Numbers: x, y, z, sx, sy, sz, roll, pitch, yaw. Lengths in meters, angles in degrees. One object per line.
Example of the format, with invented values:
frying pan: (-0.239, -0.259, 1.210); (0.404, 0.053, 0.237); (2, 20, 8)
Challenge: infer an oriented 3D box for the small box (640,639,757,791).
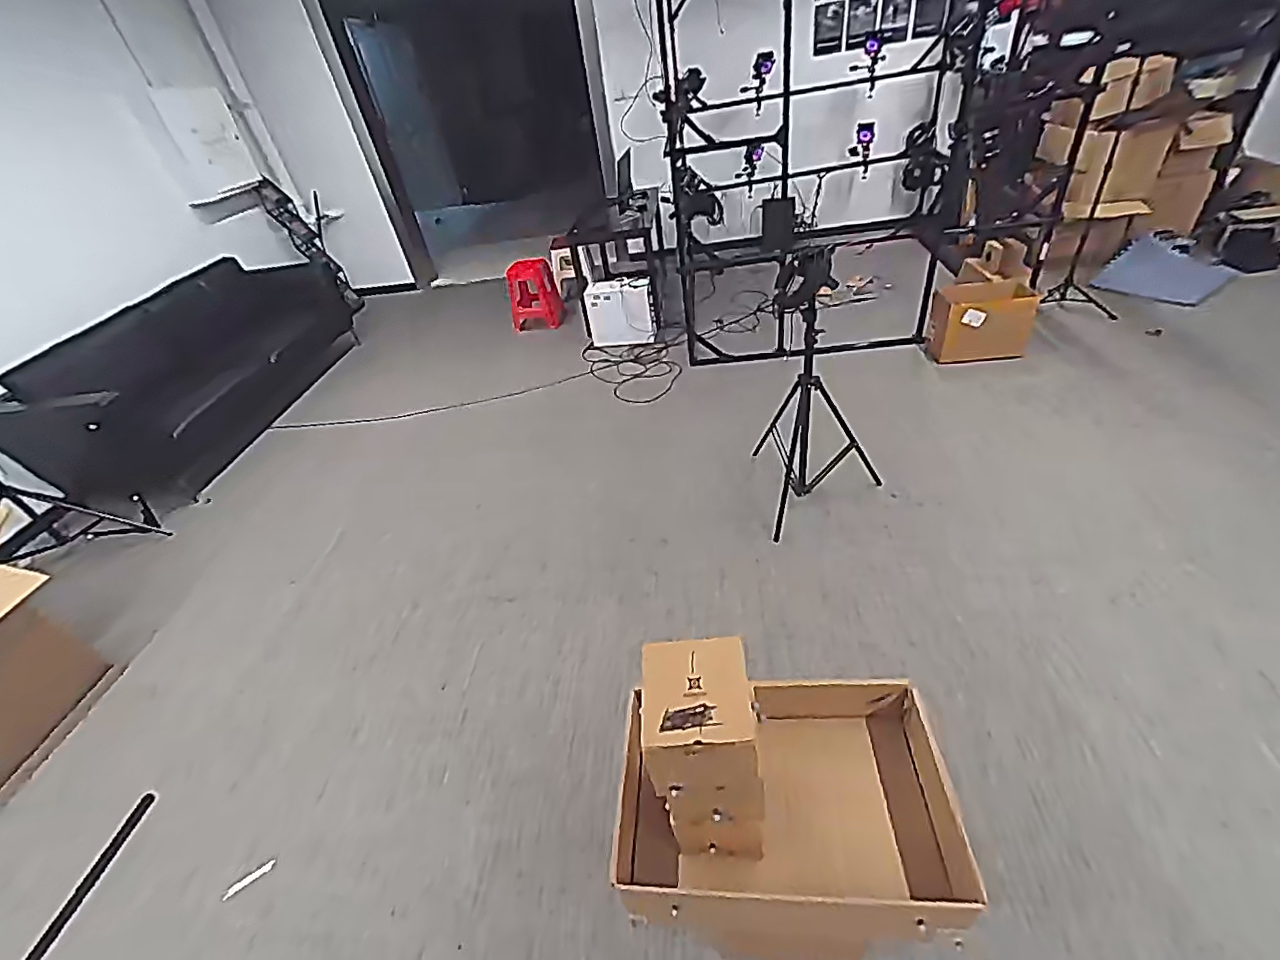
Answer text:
small box: (0.095, 0.387, 0.881); (0.168, 0.176, 0.179); (-6, 38, 6)

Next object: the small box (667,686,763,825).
small box: (0.134, 0.503, 0.992); (0.168, 0.176, 0.179); (-5, 39, 8)

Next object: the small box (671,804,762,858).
small box: (0.154, 0.632, 1.092); (0.168, 0.176, 0.179); (-5, 39, 8)
